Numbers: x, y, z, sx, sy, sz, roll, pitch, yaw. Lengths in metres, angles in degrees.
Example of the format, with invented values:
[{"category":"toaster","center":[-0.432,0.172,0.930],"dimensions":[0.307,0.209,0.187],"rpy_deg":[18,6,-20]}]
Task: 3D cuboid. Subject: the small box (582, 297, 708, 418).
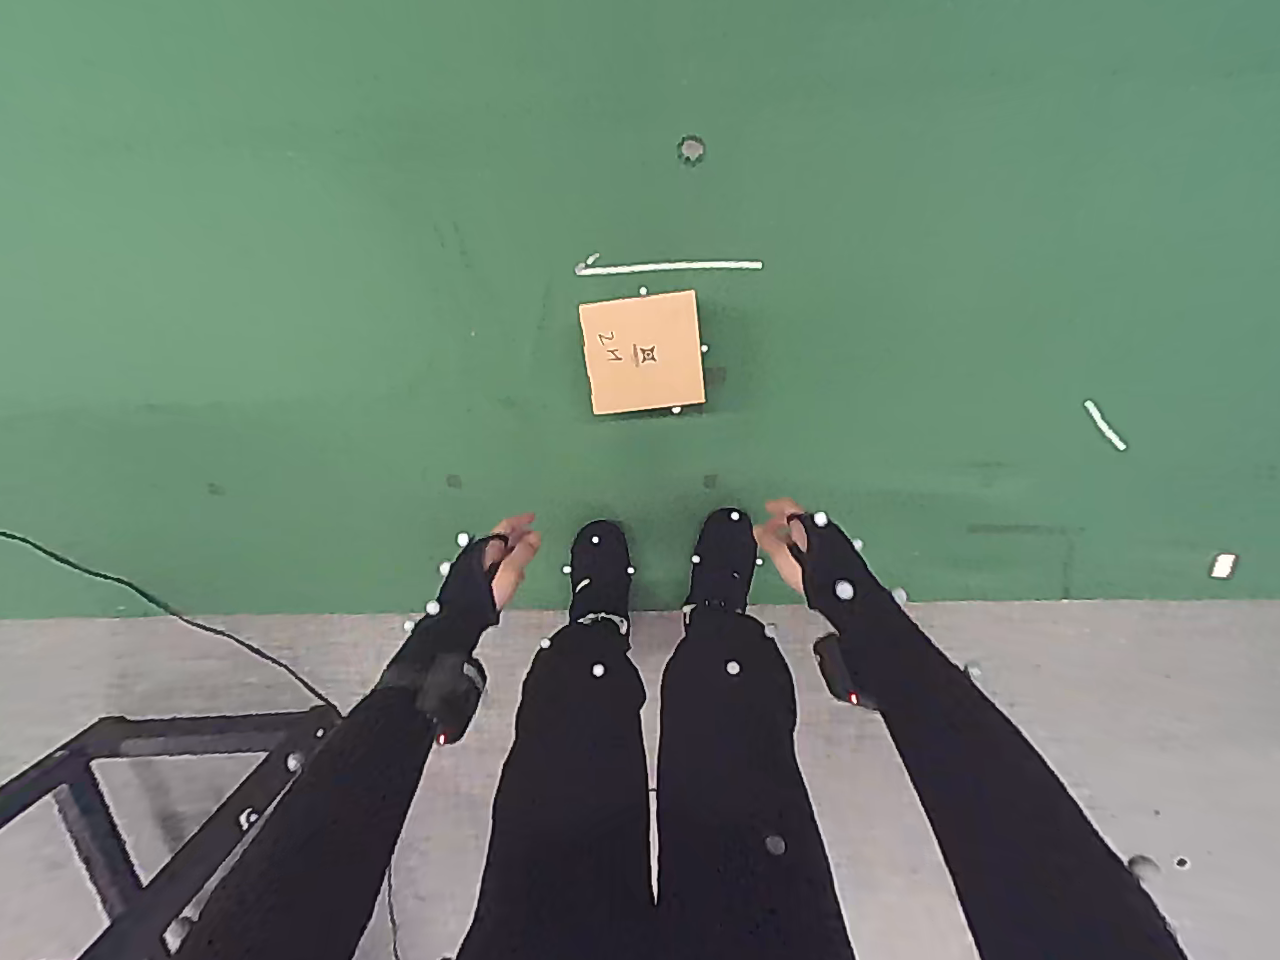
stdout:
[{"category":"small box","center":[0.012,-0.203,0.887],"dimensions":[0.179,0.176,0.168],"rpy_deg":[-6,104,5]}]
